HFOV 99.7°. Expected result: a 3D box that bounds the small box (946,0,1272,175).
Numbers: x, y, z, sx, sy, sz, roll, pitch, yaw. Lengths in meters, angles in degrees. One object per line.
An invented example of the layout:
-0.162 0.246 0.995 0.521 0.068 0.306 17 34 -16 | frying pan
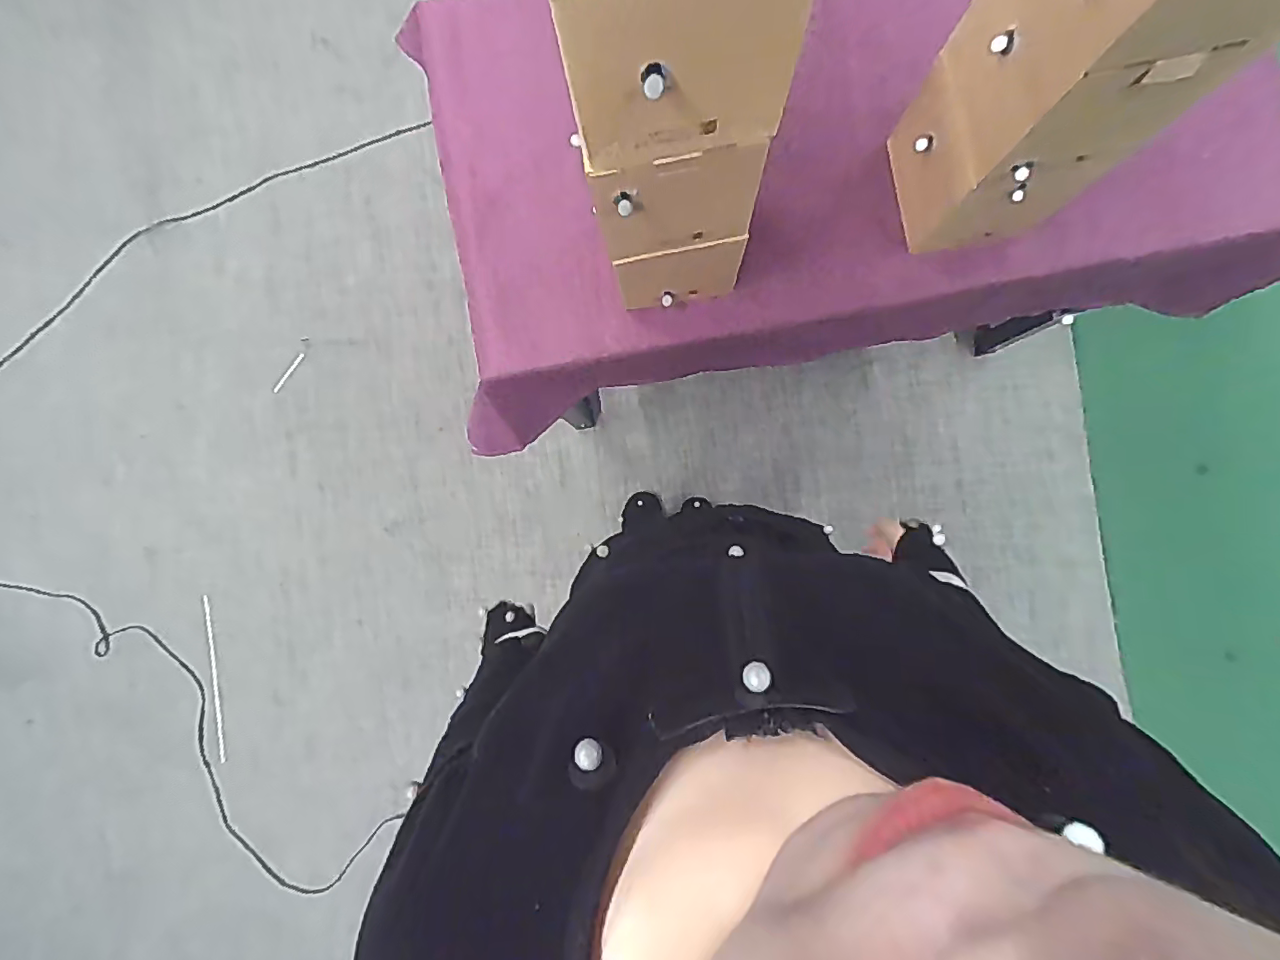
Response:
0.441 -0.436 0.540 0.168 0.176 0.179 -11 87 3 | small box

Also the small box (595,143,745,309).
0.037 -0.353 0.726 0.168 0.176 0.179 -9 88 3 | small box

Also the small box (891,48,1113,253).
0.450 -0.430 0.704 0.168 0.176 0.179 -10 87 4 | small box

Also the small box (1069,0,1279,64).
0.435 -0.438 0.375 0.179 0.176 0.168 -10 88 3 | small box

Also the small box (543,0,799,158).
0.018 -0.371 0.399 0.168 0.176 0.179 -9 86 4 | small box
